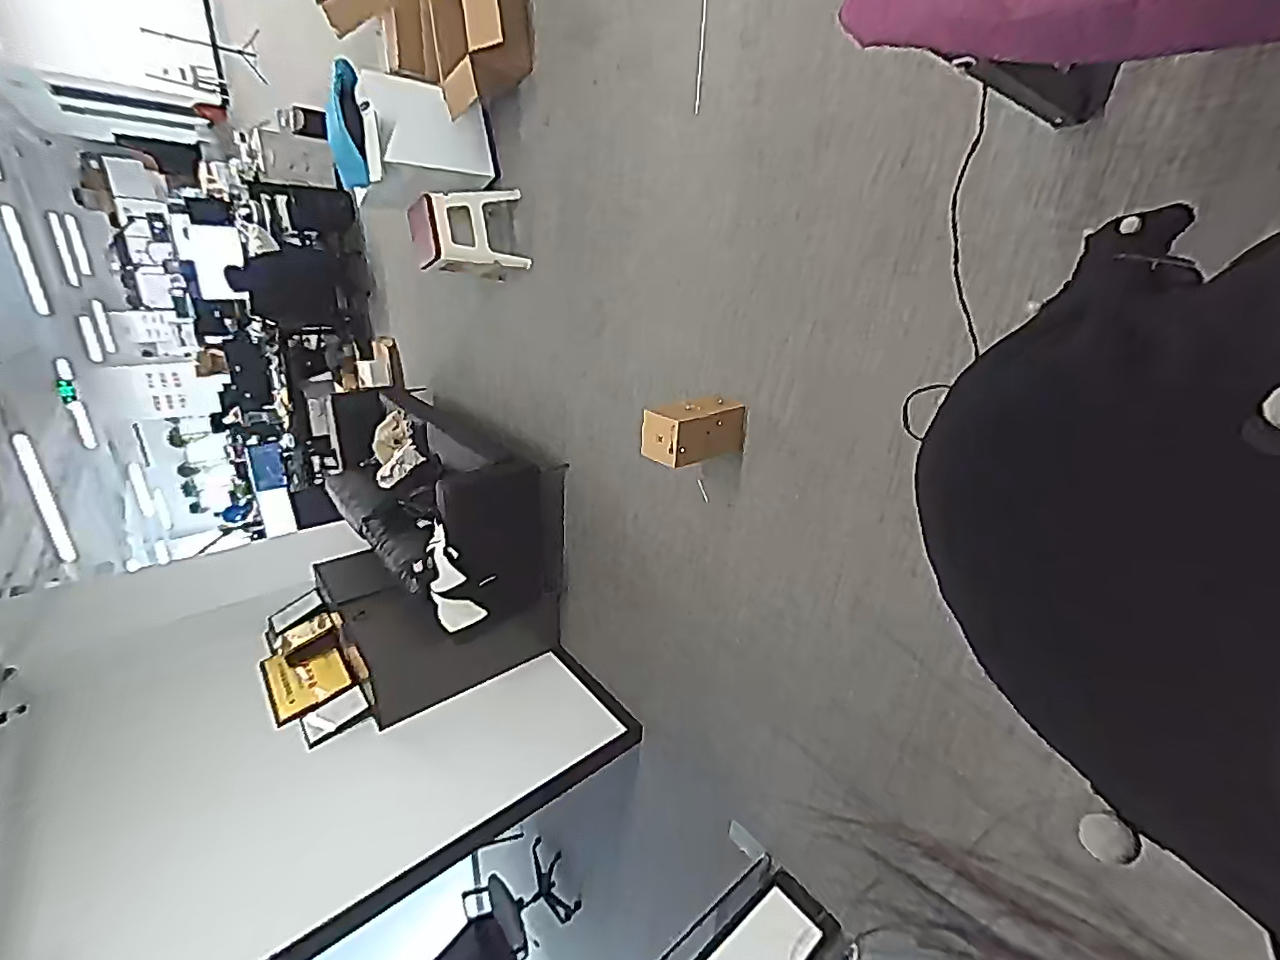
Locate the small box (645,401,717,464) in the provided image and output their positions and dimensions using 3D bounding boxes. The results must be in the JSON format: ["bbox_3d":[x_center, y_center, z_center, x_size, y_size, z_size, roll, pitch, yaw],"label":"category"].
[{"bbox_3d":[0.140,-0.170,1.855,0.179,0.176,0.168,28,123,45],"label":"small box"}]

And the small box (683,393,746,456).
[{"bbox_3d":[0.265,-0.205,1.956,0.168,0.176,0.179,28,123,44],"label":"small box"}]
